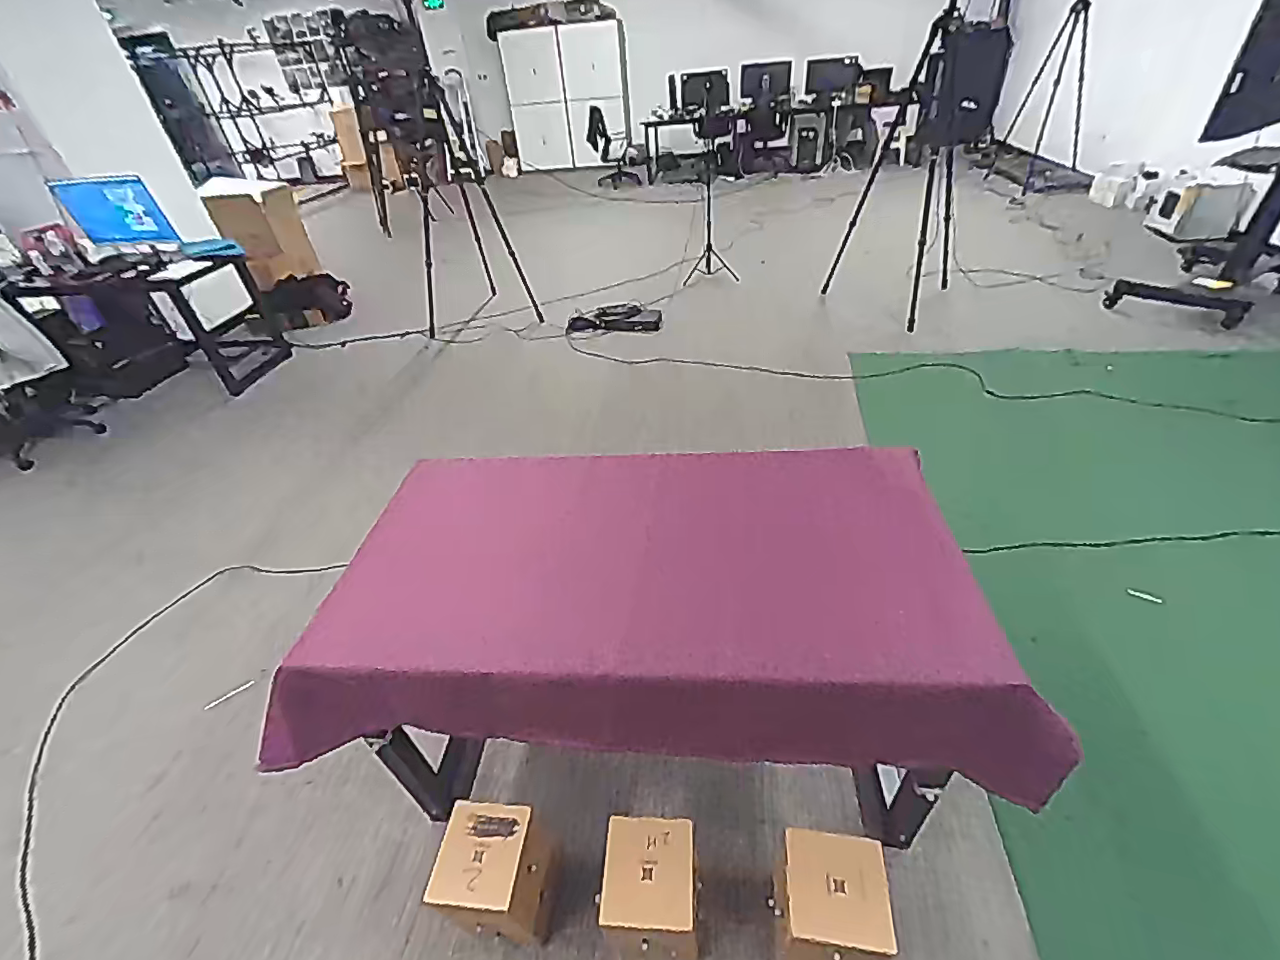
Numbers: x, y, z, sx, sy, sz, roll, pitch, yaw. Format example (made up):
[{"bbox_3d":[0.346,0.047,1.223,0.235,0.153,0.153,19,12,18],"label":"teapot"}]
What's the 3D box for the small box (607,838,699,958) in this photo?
[{"bbox_3d":[0.035,0.906,1.172,0.179,0.176,0.168,0,39,8],"label":"small box"}]
